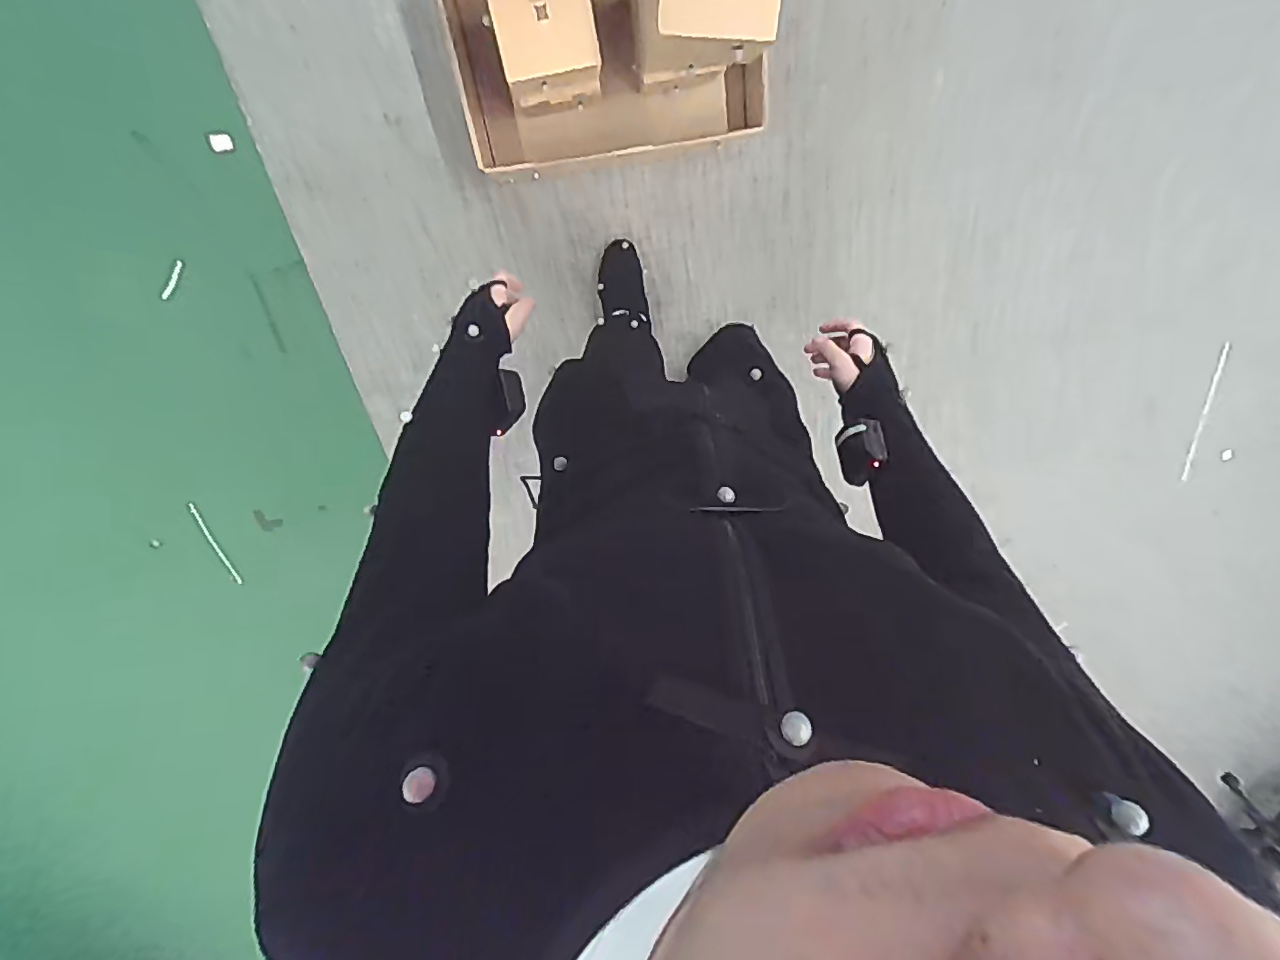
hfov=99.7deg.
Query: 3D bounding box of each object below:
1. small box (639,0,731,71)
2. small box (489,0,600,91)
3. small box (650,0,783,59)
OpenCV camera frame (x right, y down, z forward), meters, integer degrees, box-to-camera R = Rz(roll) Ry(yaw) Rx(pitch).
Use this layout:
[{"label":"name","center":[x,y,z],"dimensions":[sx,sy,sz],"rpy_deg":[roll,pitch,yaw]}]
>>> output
[{"label":"small box","center":[0.091,-0.830,0.937],"dimensions":[0.179,0.176,0.168],"rpy_deg":[-6,118,0]},{"label":"small box","center":[-0.164,-0.802,0.941],"dimensions":[0.168,0.176,0.179],"rpy_deg":[-11,117,1]},{"label":"small box","center":[0.111,-0.741,0.797],"dimensions":[0.179,0.176,0.168],"rpy_deg":[1,118,-3]}]
